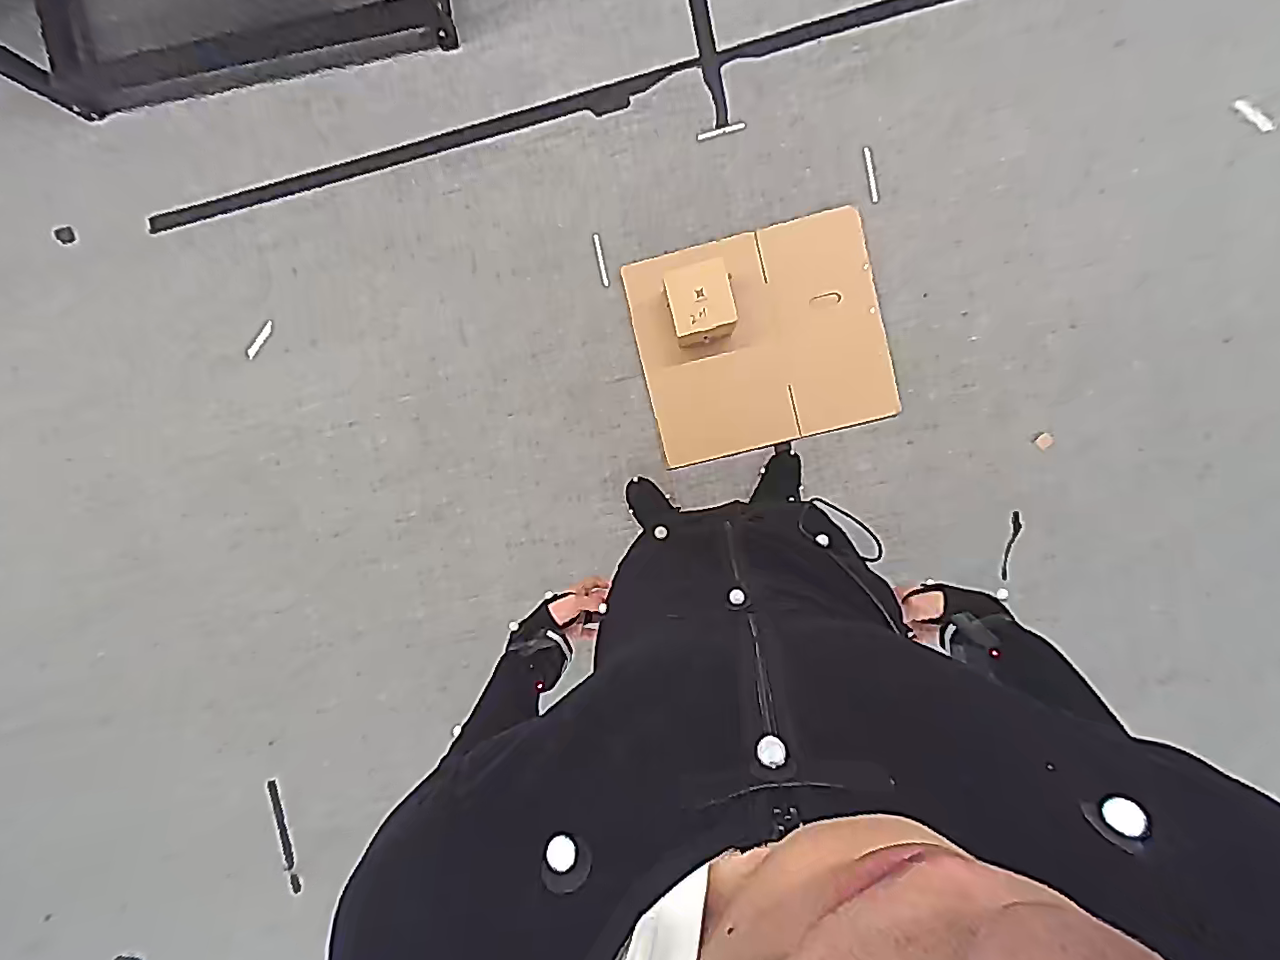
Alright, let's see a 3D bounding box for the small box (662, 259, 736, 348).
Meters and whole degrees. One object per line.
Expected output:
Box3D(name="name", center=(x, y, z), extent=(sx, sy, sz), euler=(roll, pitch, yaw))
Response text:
Box3D(name="small box", center=(0.158, -0.479, 1.491), extent=(0.168, 0.176, 0.179), euler=(-14, 94, 5))
